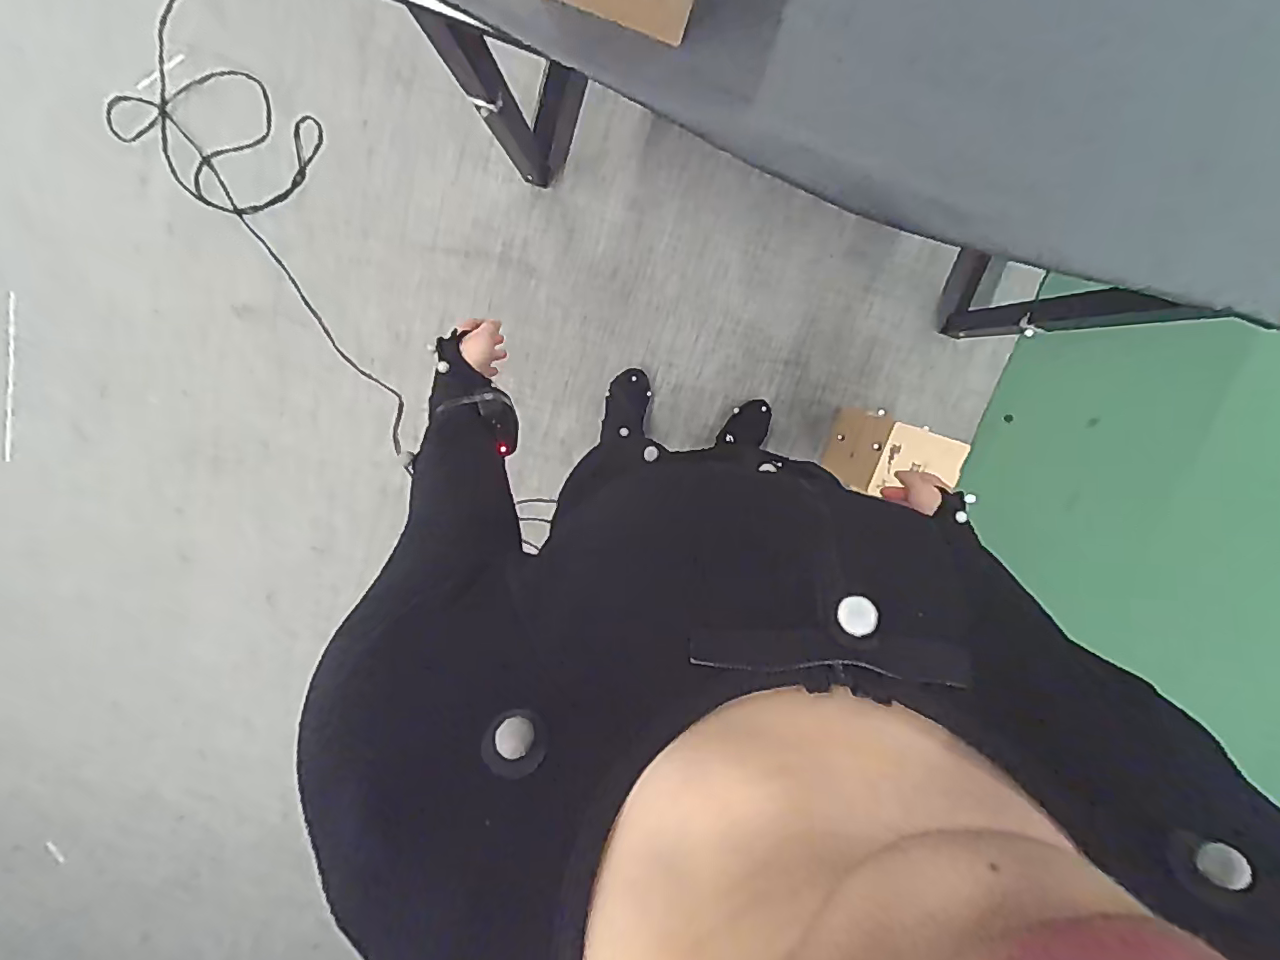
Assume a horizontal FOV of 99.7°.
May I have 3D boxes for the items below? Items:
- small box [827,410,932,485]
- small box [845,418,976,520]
[{"bbox_3d":[0.598,-0.071,1.378,0.168,0.176,0.179,17,101,-2],"label":"small box"},{"bbox_3d":[0.597,-0.032,1.217,0.179,0.176,0.168,19,103,-3],"label":"small box"}]
